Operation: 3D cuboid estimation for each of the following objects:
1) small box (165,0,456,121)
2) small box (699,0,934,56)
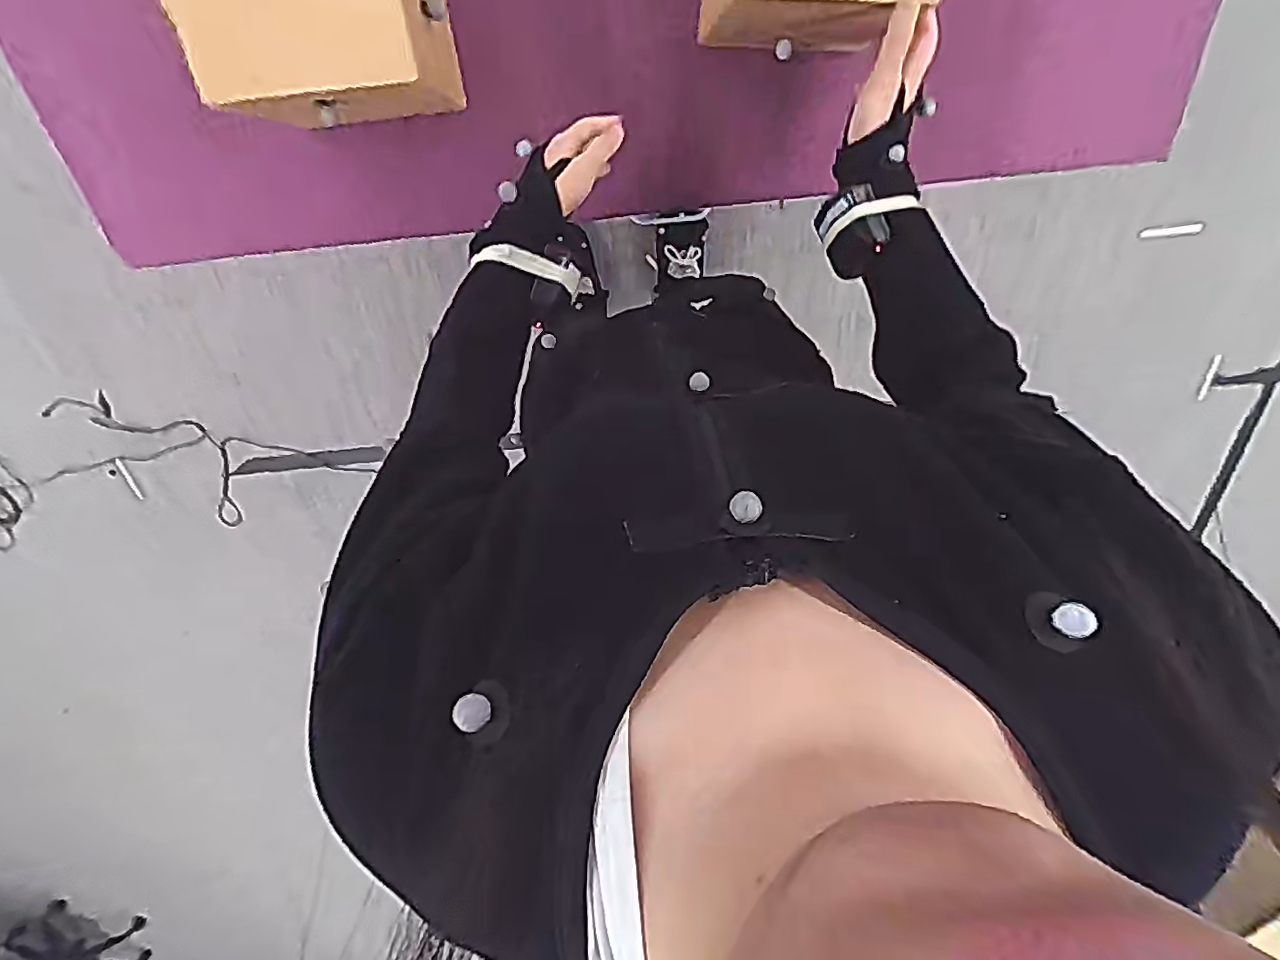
[{"bbox_3d":[-0.270,-0.416,0.460,0.179,0.176,0.168,-6,119,1],"label":"small box"},{"bbox_3d":[0.145,-0.479,0.444,0.168,0.176,0.179,1,119,-3],"label":"small box"}]
